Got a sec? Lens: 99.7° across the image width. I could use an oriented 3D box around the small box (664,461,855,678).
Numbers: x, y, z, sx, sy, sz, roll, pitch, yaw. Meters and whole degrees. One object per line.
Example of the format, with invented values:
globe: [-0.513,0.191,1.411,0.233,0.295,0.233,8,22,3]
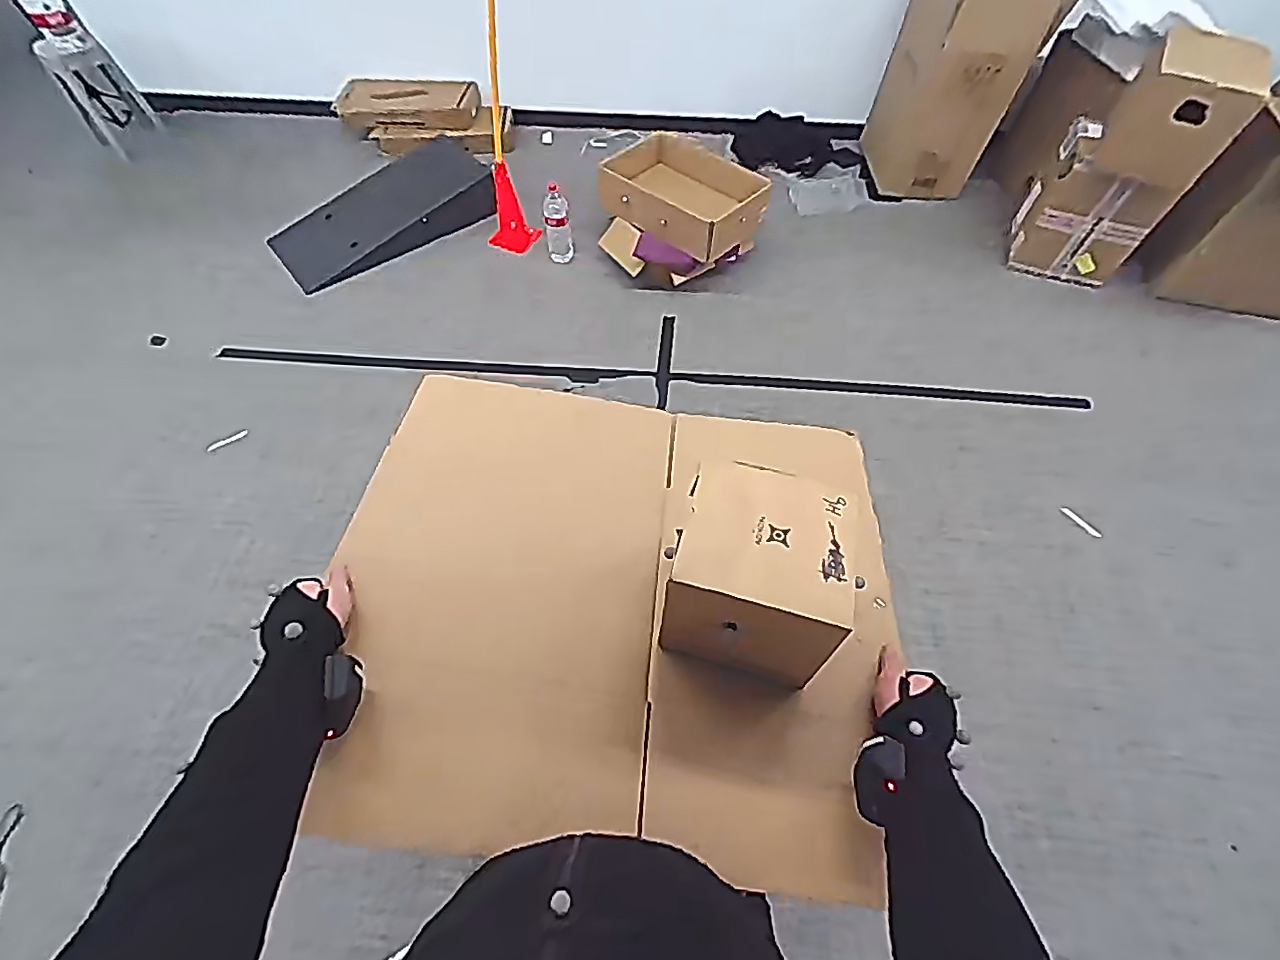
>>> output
small box: [0.130,0.107,0.621,0.179,0.176,0.168,13,53,9]
